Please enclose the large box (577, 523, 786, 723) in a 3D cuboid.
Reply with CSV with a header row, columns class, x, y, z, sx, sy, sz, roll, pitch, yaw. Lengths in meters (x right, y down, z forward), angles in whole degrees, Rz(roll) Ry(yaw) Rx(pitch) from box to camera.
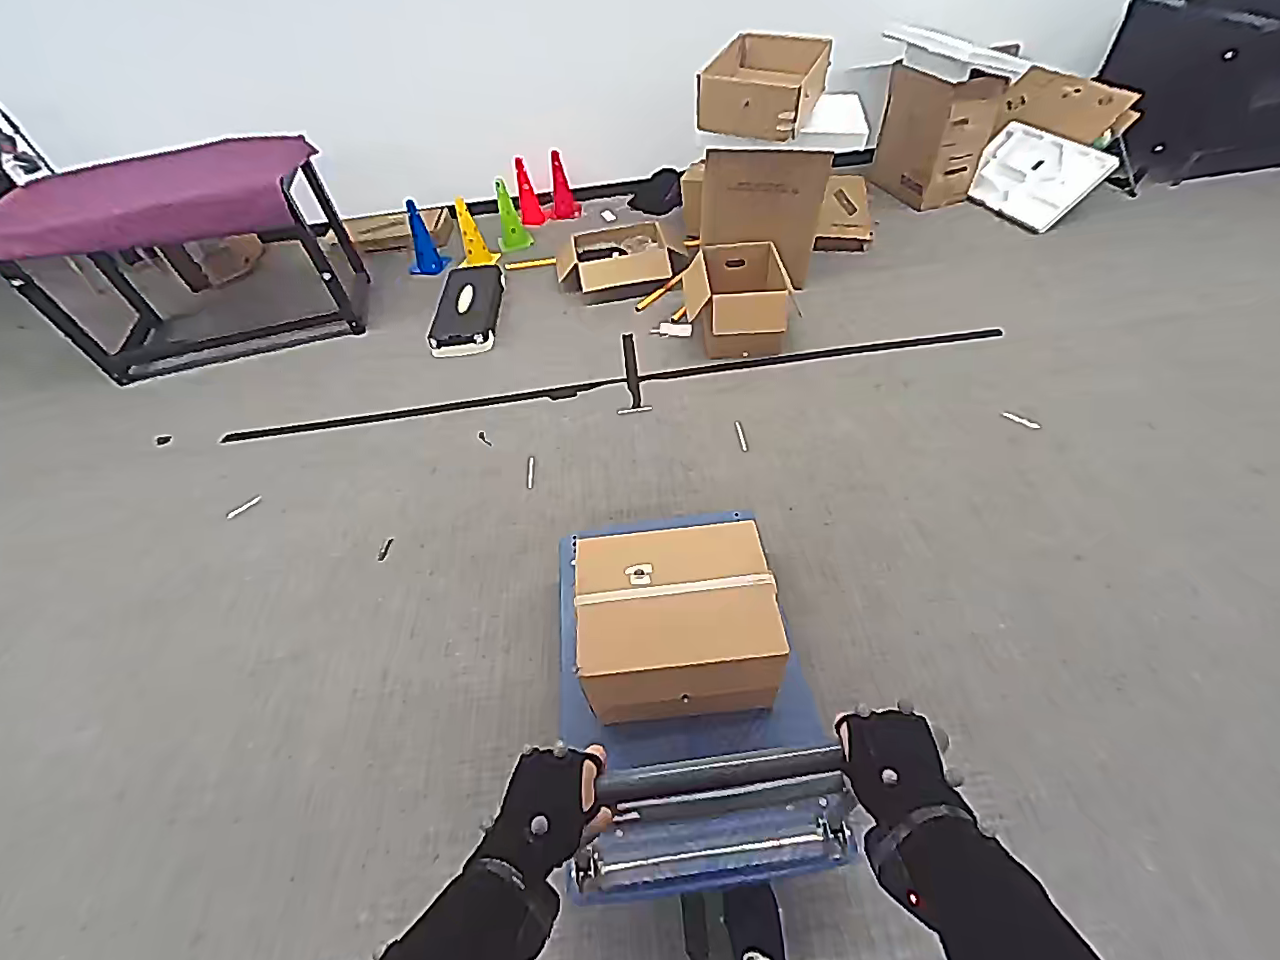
class,x,y,z,sx,sy,sz,roll,pitch,yaw
large box,0.084,0.334,1.239,0.408,0.320,0.320,-7,49,1
